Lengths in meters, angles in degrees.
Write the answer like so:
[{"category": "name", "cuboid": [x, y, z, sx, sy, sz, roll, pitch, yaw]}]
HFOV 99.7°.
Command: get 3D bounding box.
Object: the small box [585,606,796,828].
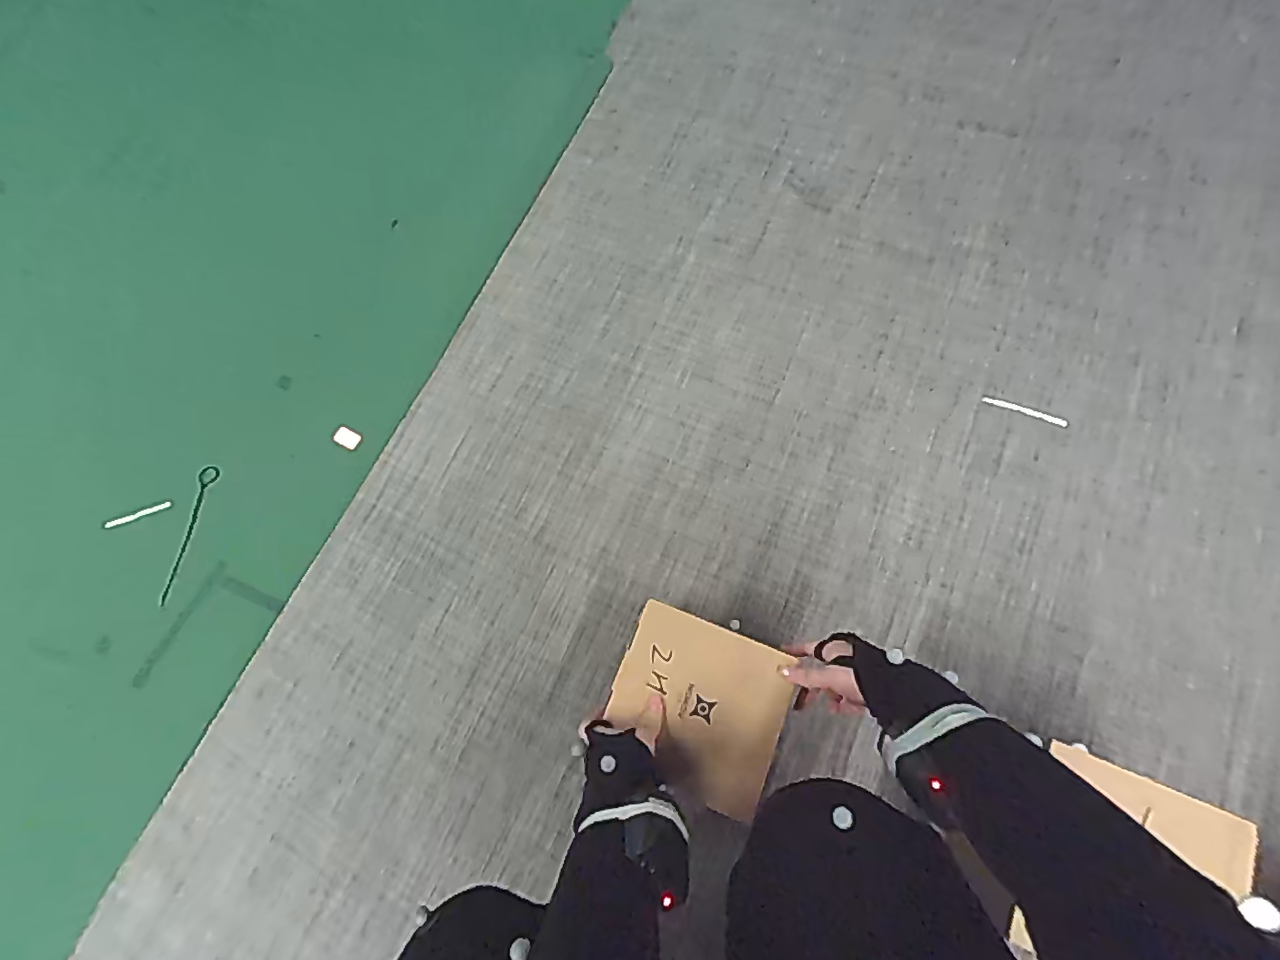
[{"category": "small box", "cuboid": [0.063, 0.261, 0.635, 0.179, 0.176, 0.168, 20, 76, 14]}]
